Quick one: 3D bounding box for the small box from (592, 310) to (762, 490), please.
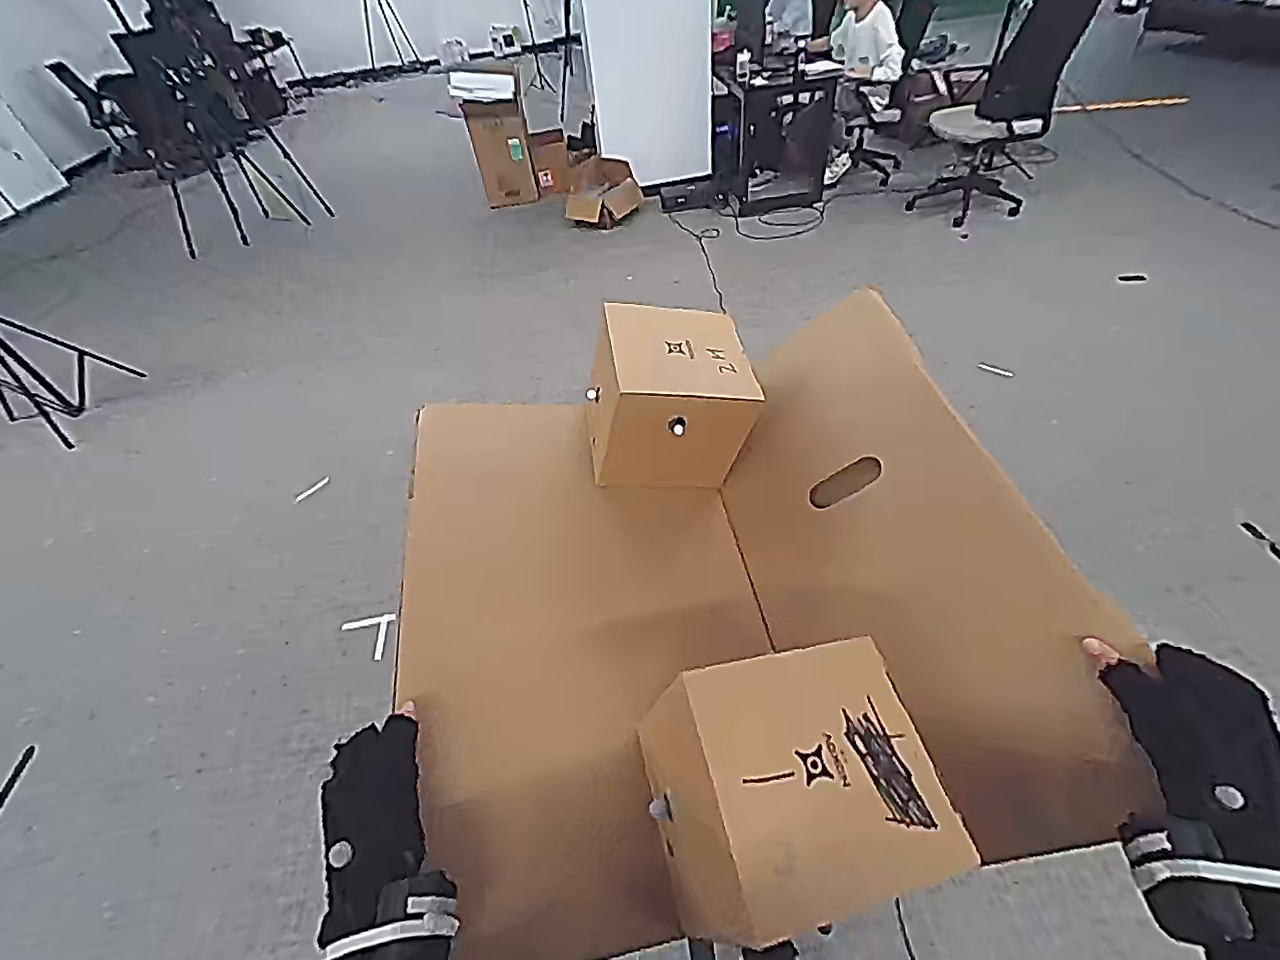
[{"bbox_3d":[0.033,-0.099,0.714,0.179,0.176,0.168,1,52,-14],"label":"small box"}]
